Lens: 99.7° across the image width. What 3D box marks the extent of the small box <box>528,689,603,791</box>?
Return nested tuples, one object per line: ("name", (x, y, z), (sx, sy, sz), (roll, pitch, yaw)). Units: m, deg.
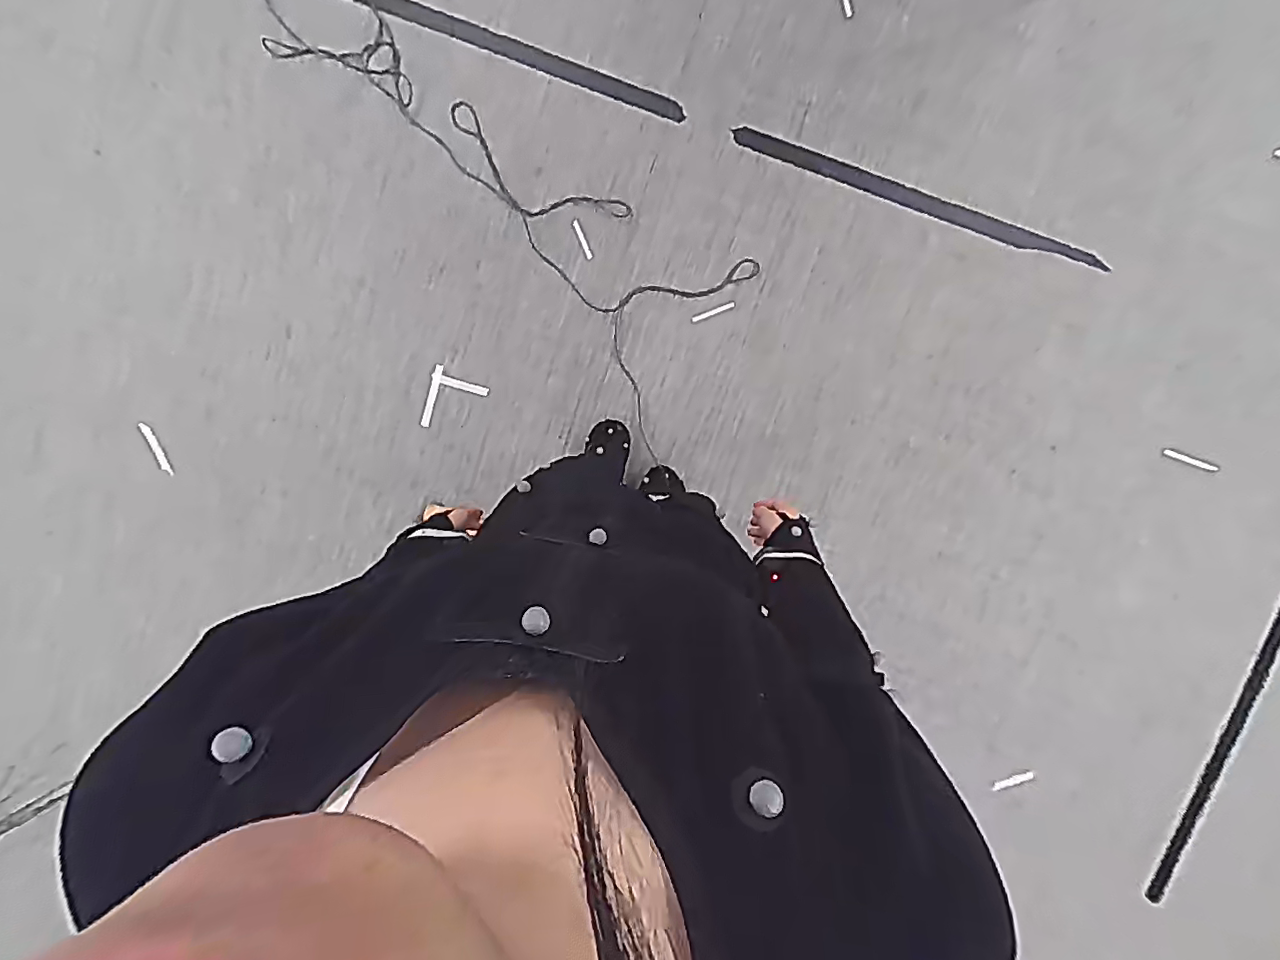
("small box", (-0.194, 0.694, 1.458), (0.168, 0.176, 0.179), (9, 95, -2))
